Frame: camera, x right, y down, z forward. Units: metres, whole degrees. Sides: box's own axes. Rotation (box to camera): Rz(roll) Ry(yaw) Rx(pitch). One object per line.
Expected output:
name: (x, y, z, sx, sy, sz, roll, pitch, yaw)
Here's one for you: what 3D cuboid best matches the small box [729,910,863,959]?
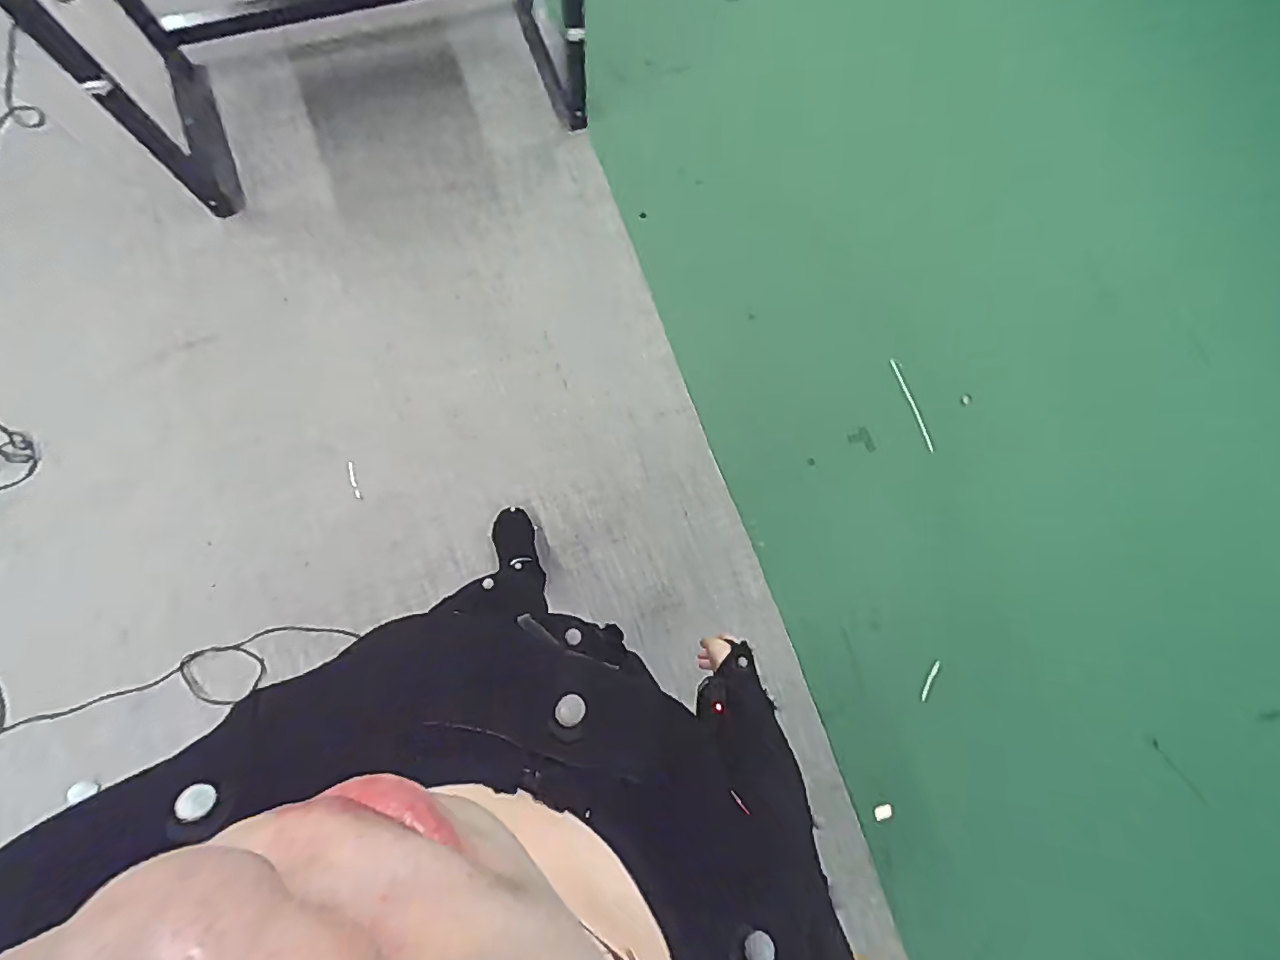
small box: (0.239, 0.751, 0.755, 0.168, 0.176, 0.179, -17, 81, -6)
